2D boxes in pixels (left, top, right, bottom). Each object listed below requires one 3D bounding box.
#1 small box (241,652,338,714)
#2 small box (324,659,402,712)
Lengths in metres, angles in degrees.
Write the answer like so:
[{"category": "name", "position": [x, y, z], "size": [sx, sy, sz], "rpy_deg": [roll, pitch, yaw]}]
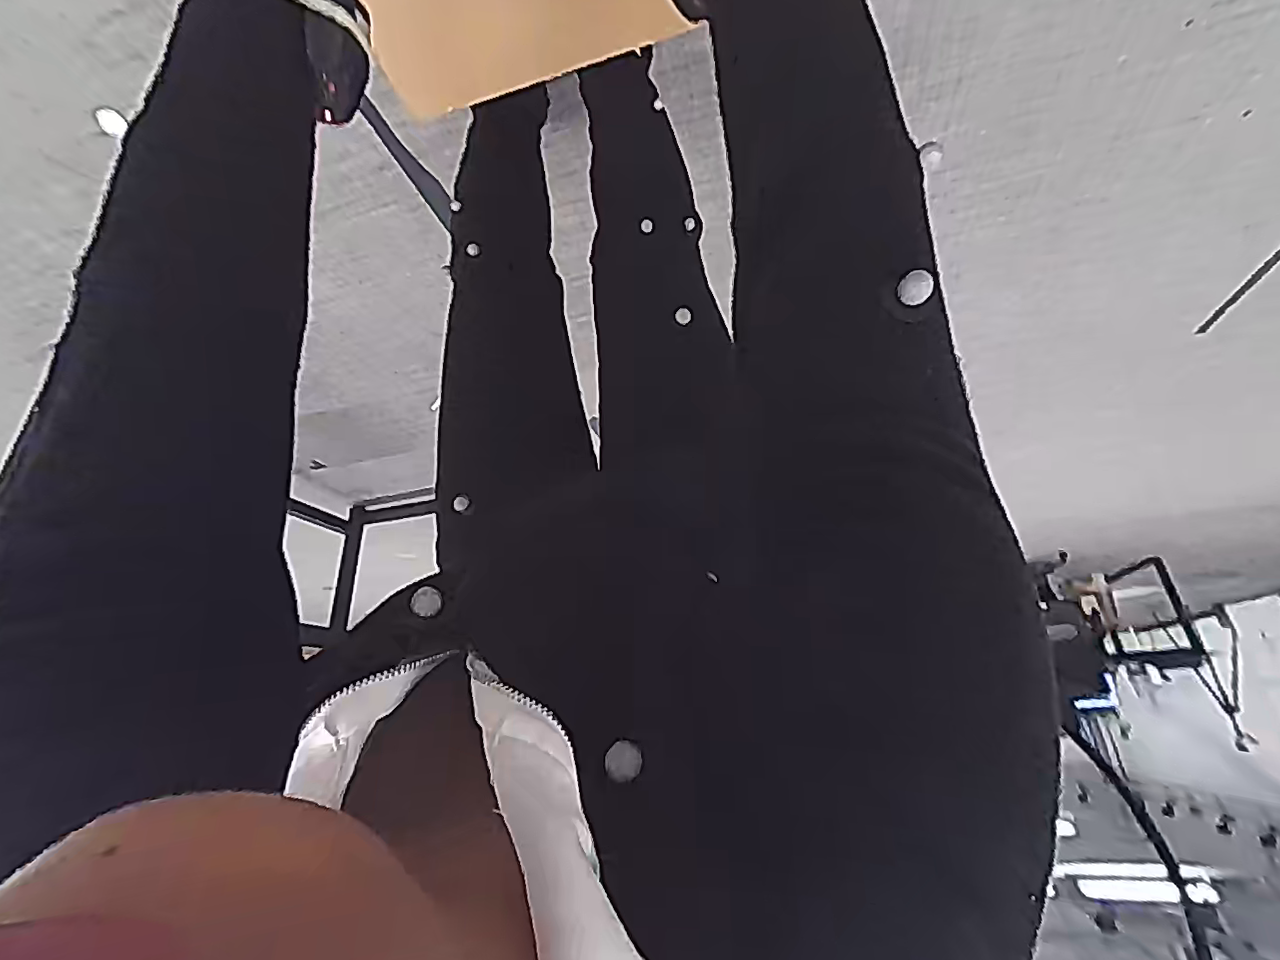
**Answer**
[{"category": "small box", "position": [-1.073, 0.625, 1.666], "size": [0.168, 0.176, 0.179], "rpy_deg": [-8, 157, 13]}, {"category": "small box", "position": [-0.981, 0.730, 1.926], "size": [0.168, 0.176, 0.179], "rpy_deg": [-9, 157, 17]}]
